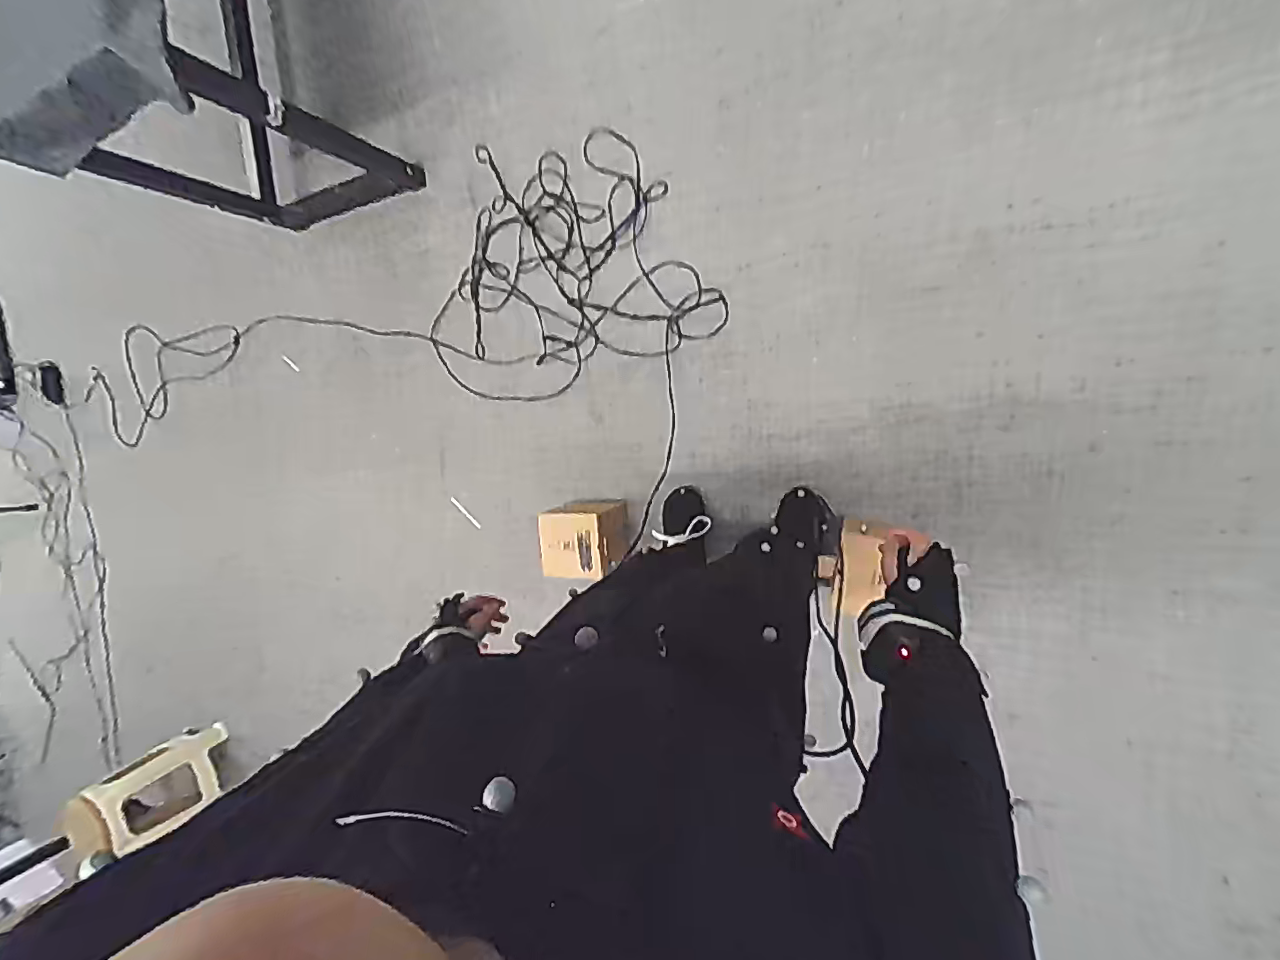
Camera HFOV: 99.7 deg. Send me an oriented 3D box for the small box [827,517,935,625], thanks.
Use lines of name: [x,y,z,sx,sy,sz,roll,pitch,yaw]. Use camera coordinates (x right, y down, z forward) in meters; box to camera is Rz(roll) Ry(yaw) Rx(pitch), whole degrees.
small box: [0.507,0.183,1.150,0.179,0.176,0.168,10,102,22]
